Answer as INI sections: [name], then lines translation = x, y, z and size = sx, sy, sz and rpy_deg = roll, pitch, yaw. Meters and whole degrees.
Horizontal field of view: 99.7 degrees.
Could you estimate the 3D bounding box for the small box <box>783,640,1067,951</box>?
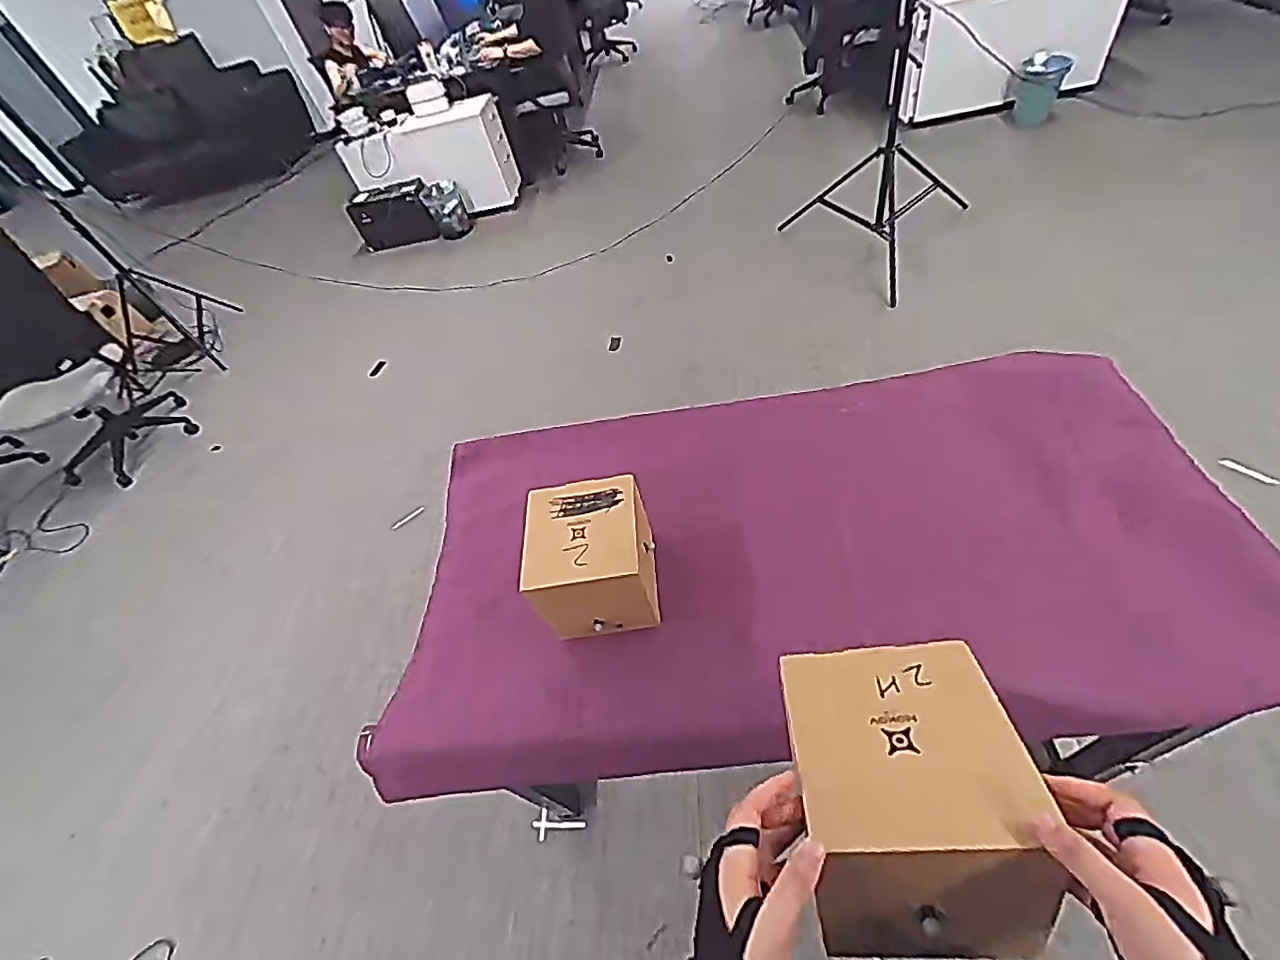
[small box]
translation = 0.223, 0.267, 0.469
size = 0.168, 0.176, 0.179
rpy_deg = -7, 27, 11
